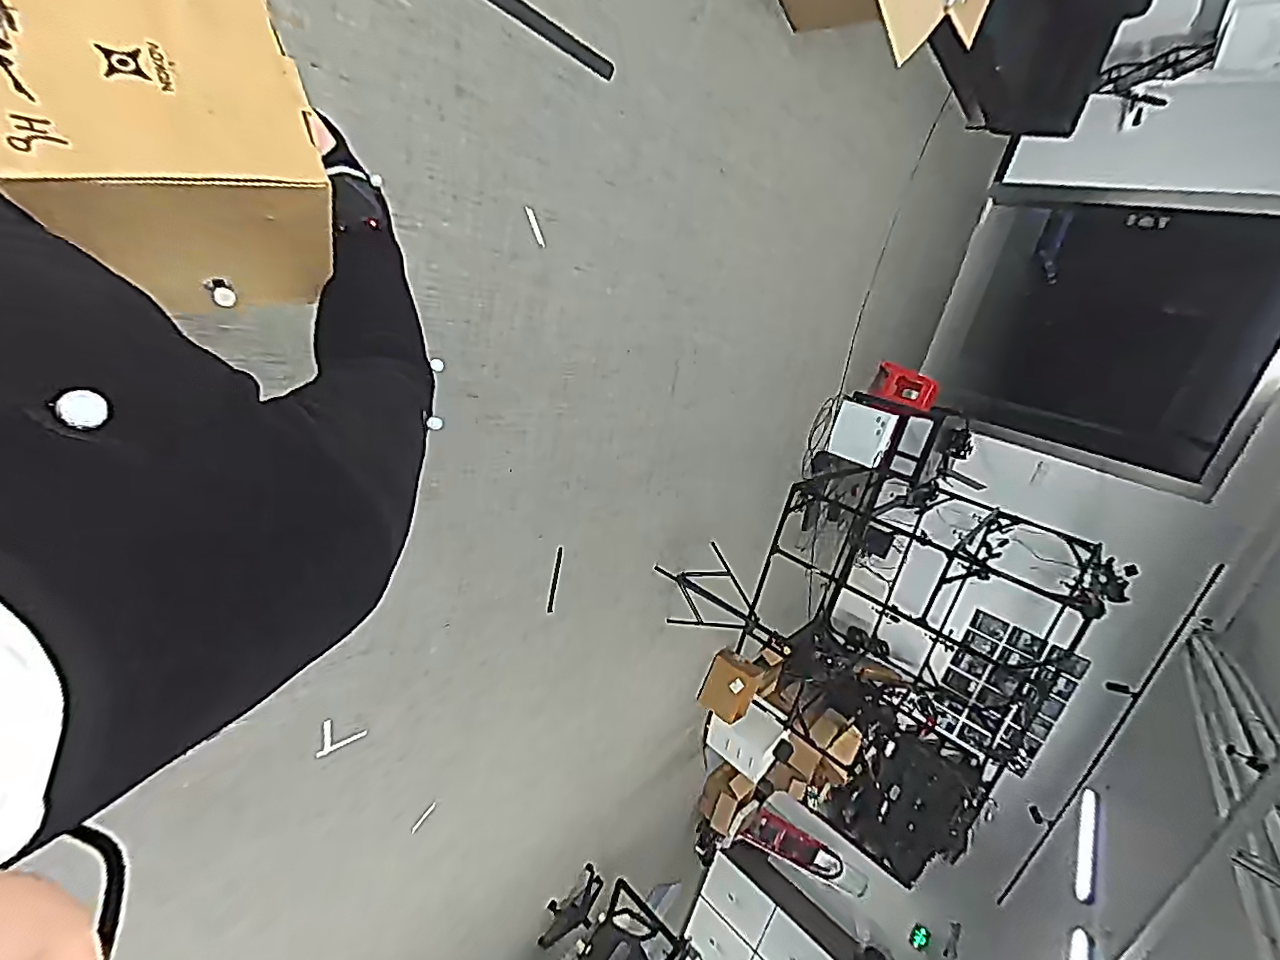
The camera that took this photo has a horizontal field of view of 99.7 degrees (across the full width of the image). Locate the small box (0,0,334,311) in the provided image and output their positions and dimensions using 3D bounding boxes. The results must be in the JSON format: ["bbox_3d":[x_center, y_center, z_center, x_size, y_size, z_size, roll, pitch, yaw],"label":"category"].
[{"bbox_3d":[-0.366,-0.254,0.433,0.179,0.176,0.168,-18,85,-32],"label":"small box"}]
